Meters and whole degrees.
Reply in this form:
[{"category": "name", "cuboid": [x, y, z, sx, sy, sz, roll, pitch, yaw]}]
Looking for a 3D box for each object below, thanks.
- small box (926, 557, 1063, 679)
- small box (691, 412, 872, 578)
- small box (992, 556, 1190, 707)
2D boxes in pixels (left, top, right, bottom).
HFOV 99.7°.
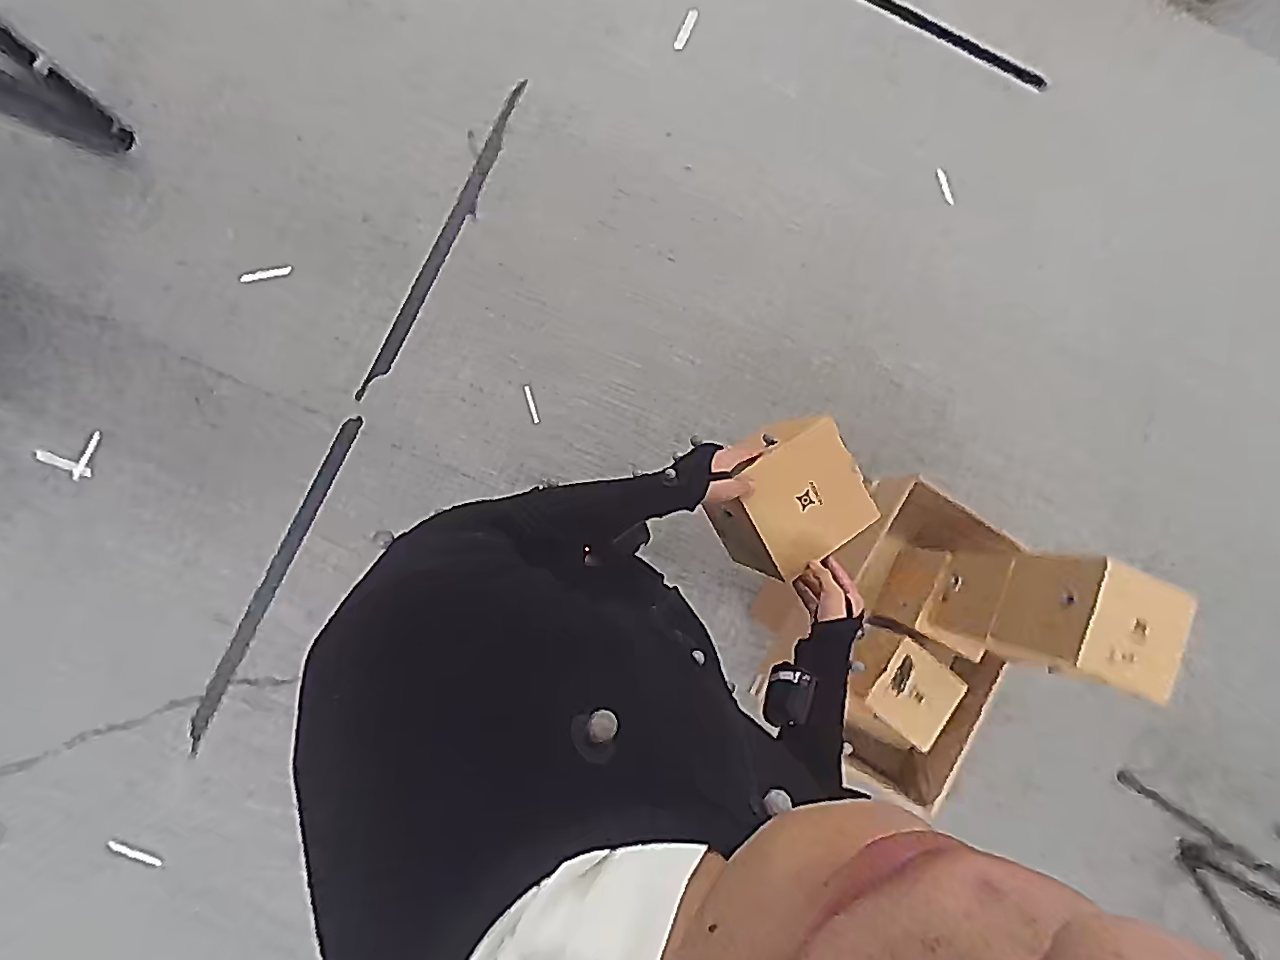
[{"category": "small box", "cuboid": [0.710, 0.258, 1.058, 0.179, 0.176, 0.168, 24, 84, -5]}, {"category": "small box", "cuboid": [0.194, 0.020, 0.801, 0.179, 0.176, 0.168, -33, 99, -14]}, {"category": "small box", "cuboid": [0.734, 0.238, 0.897, 0.168, 0.176, 0.179, 24, 84, -5]}]
